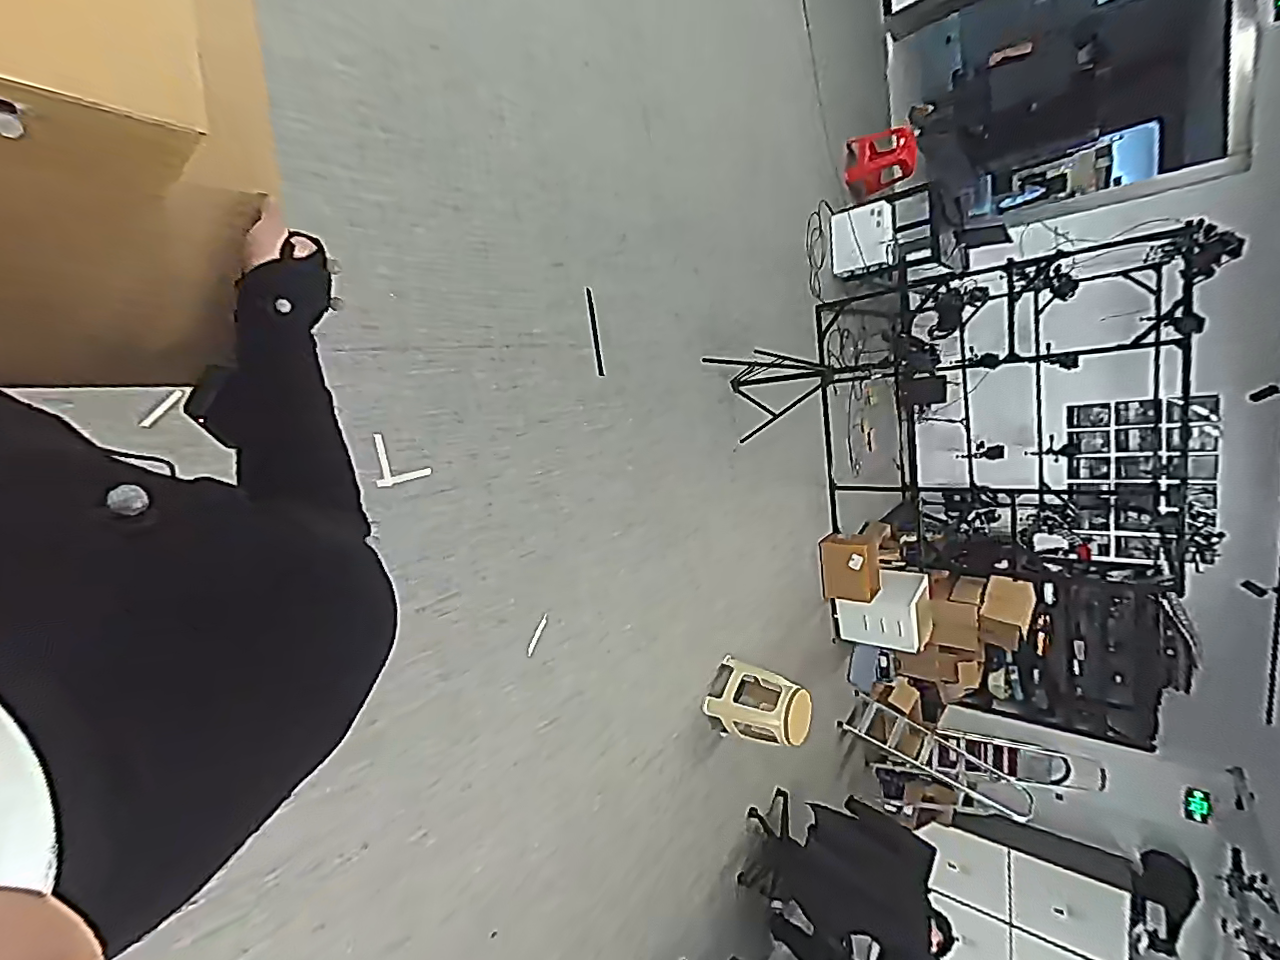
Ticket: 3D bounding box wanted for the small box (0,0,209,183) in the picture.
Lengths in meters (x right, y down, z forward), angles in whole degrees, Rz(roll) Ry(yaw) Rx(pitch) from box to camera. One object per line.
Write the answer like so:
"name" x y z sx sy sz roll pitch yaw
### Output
"small box" -0.427 -0.321 0.362 0.179 0.176 0.168 -12 104 -48
